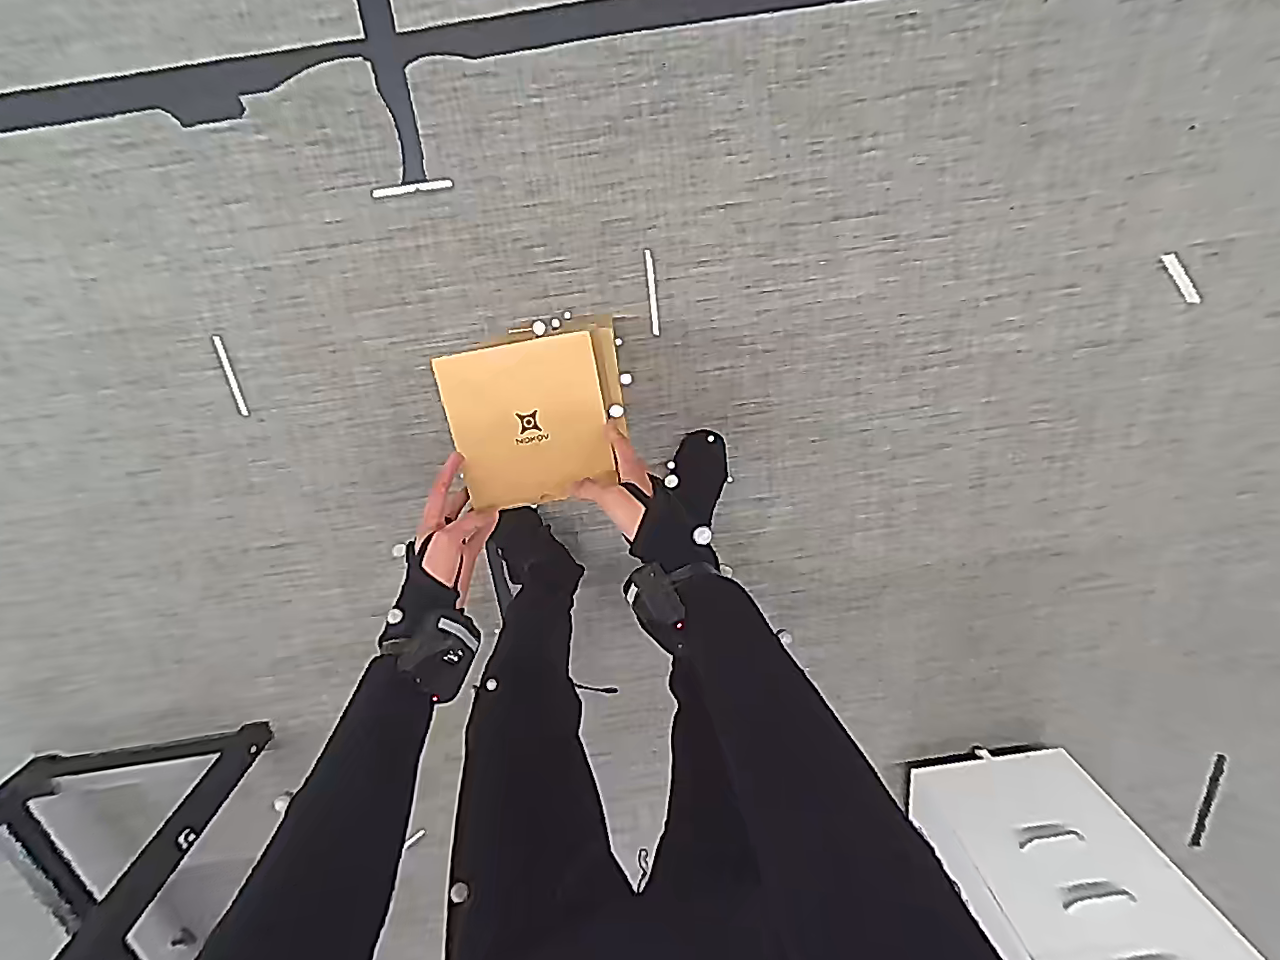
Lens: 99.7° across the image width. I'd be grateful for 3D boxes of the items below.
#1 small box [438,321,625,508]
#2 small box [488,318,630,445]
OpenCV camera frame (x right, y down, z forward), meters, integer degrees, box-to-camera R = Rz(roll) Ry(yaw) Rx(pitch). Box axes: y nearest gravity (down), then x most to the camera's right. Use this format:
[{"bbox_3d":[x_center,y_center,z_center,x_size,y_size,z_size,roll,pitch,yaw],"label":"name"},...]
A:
[{"bbox_3d":[-0.115,-0.088,0.641,0.168,0.176,0.179,-10,109,1],"label":"small box"},{"bbox_3d":[-0.111,-0.142,0.796,0.179,0.176,0.168,-8,110,-1],"label":"small box"}]
